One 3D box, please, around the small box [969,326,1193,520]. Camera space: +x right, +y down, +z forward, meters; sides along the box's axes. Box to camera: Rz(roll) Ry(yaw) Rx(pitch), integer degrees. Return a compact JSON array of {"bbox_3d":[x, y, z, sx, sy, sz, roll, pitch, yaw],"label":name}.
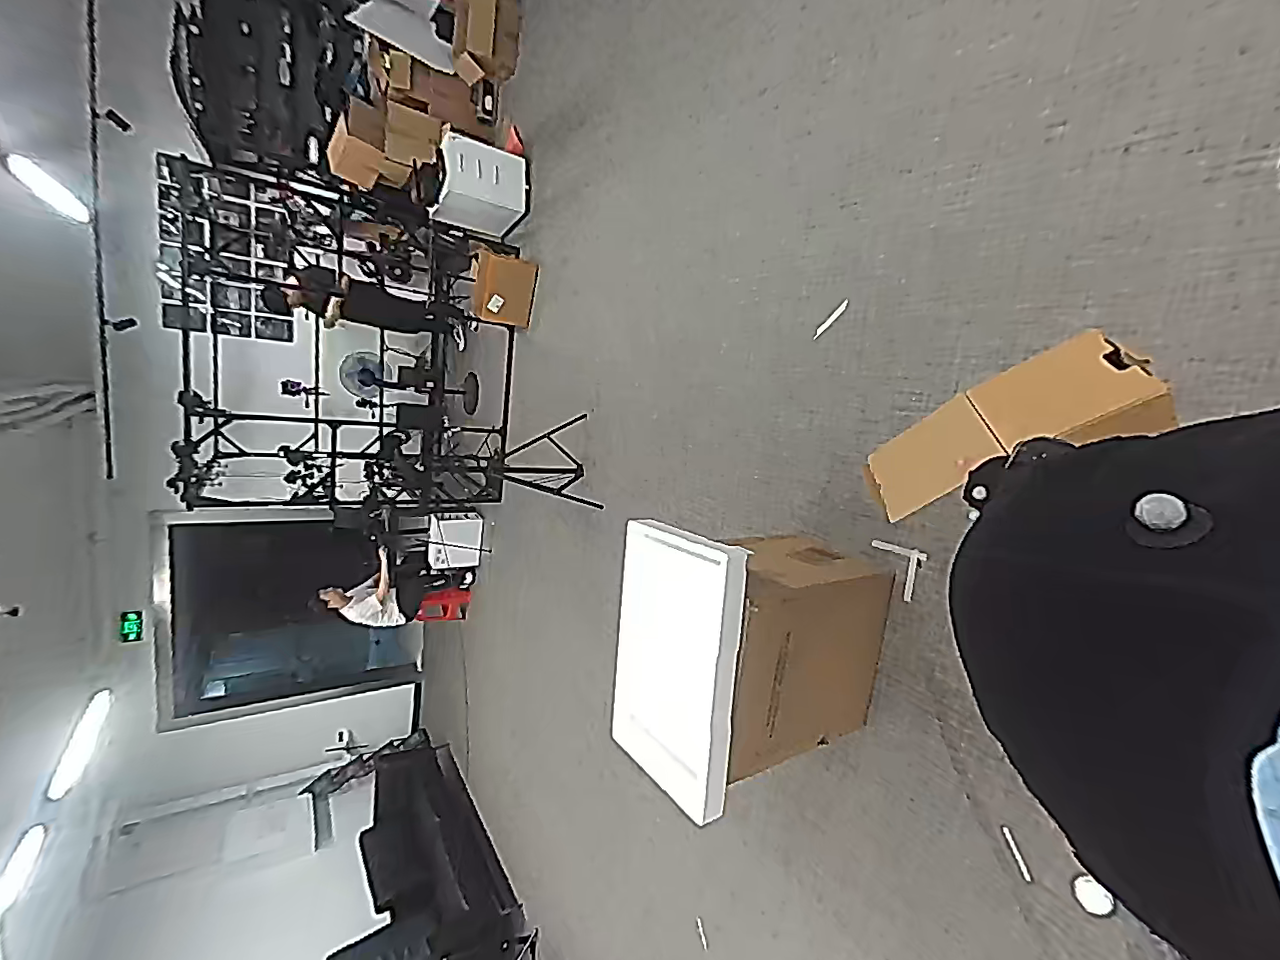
[{"bbox_3d":[0.606,-0.072,0.755,0.179,0.176,0.168,-30,30,28],"label":"small box"}]
